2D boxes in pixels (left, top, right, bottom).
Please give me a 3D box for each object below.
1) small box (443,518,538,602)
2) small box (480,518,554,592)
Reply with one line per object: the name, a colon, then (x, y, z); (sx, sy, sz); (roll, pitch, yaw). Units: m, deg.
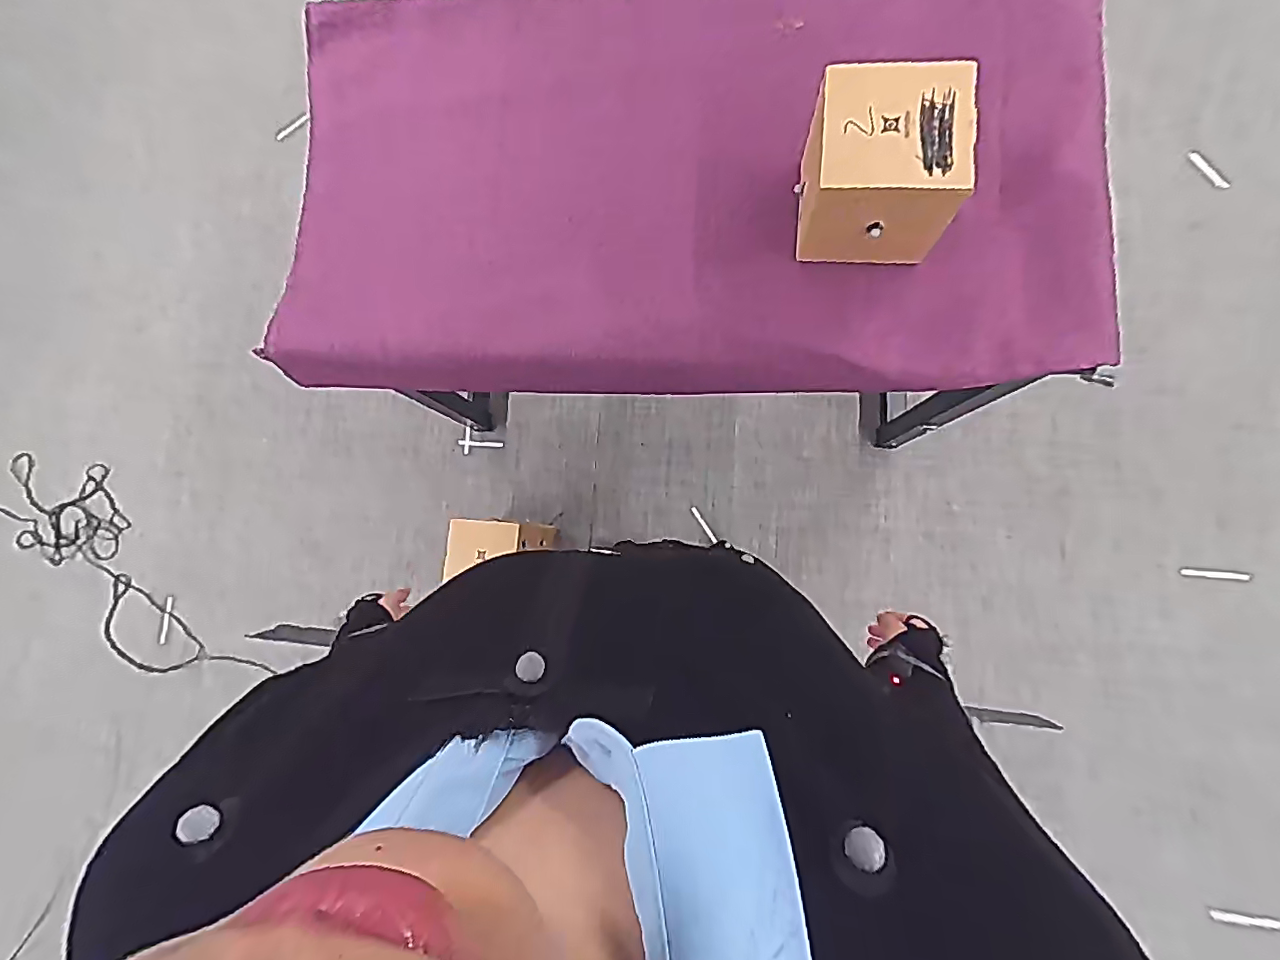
small box: (-0.348, 0.188, 1.291); (0.168, 0.176, 0.179); (4, 84, 6)
small box: (-0.339, 0.204, 1.455); (0.168, 0.176, 0.179); (10, 84, 6)
